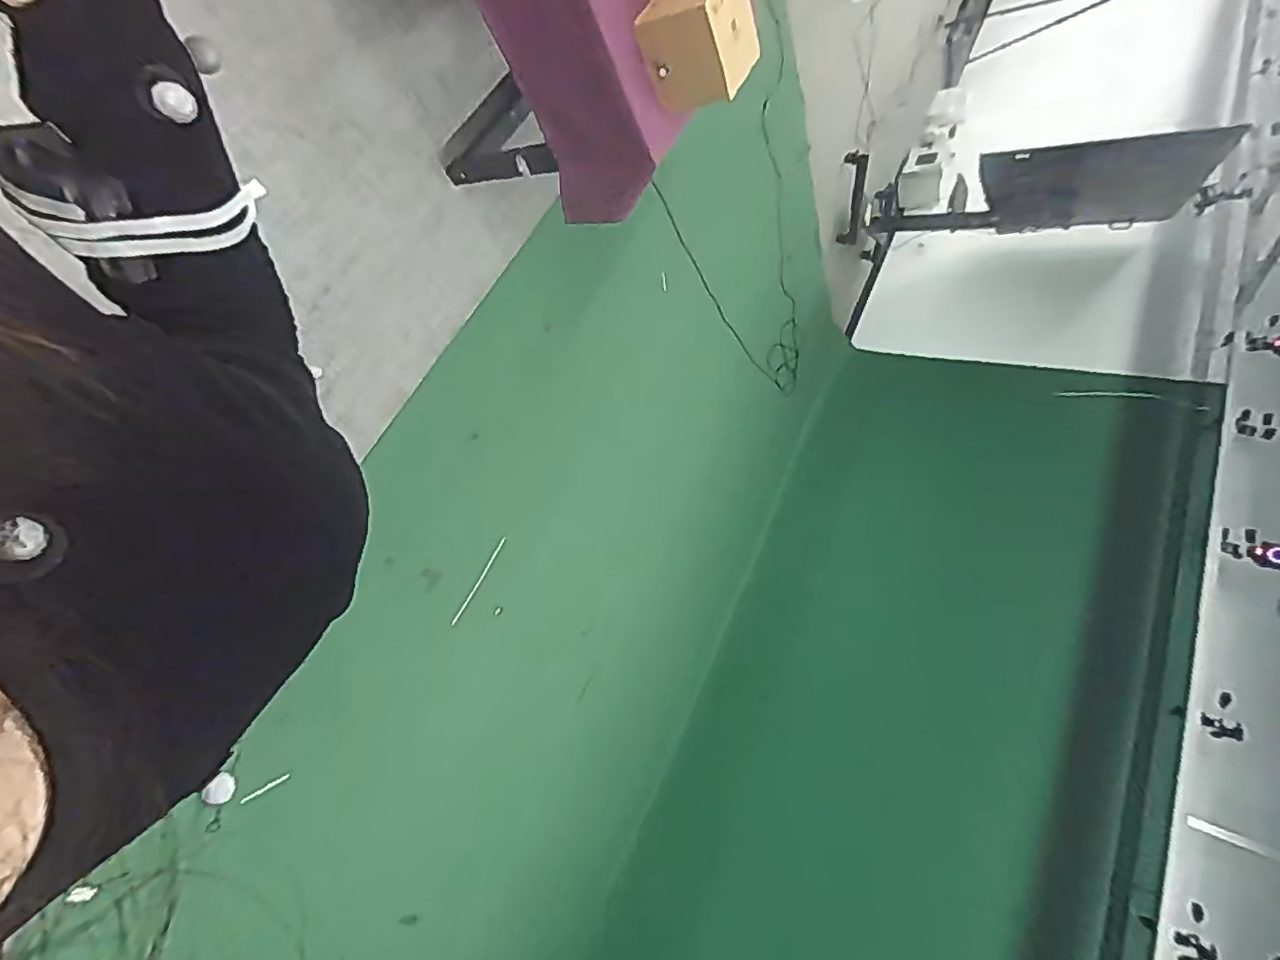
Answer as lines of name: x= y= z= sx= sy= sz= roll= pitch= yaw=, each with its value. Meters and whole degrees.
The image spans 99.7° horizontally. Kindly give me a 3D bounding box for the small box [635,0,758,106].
small box: x=0.118 y=-0.900 z=1.104 sx=0.168 sy=0.176 sz=0.179 roll=-63 pitch=145 yaw=-18
